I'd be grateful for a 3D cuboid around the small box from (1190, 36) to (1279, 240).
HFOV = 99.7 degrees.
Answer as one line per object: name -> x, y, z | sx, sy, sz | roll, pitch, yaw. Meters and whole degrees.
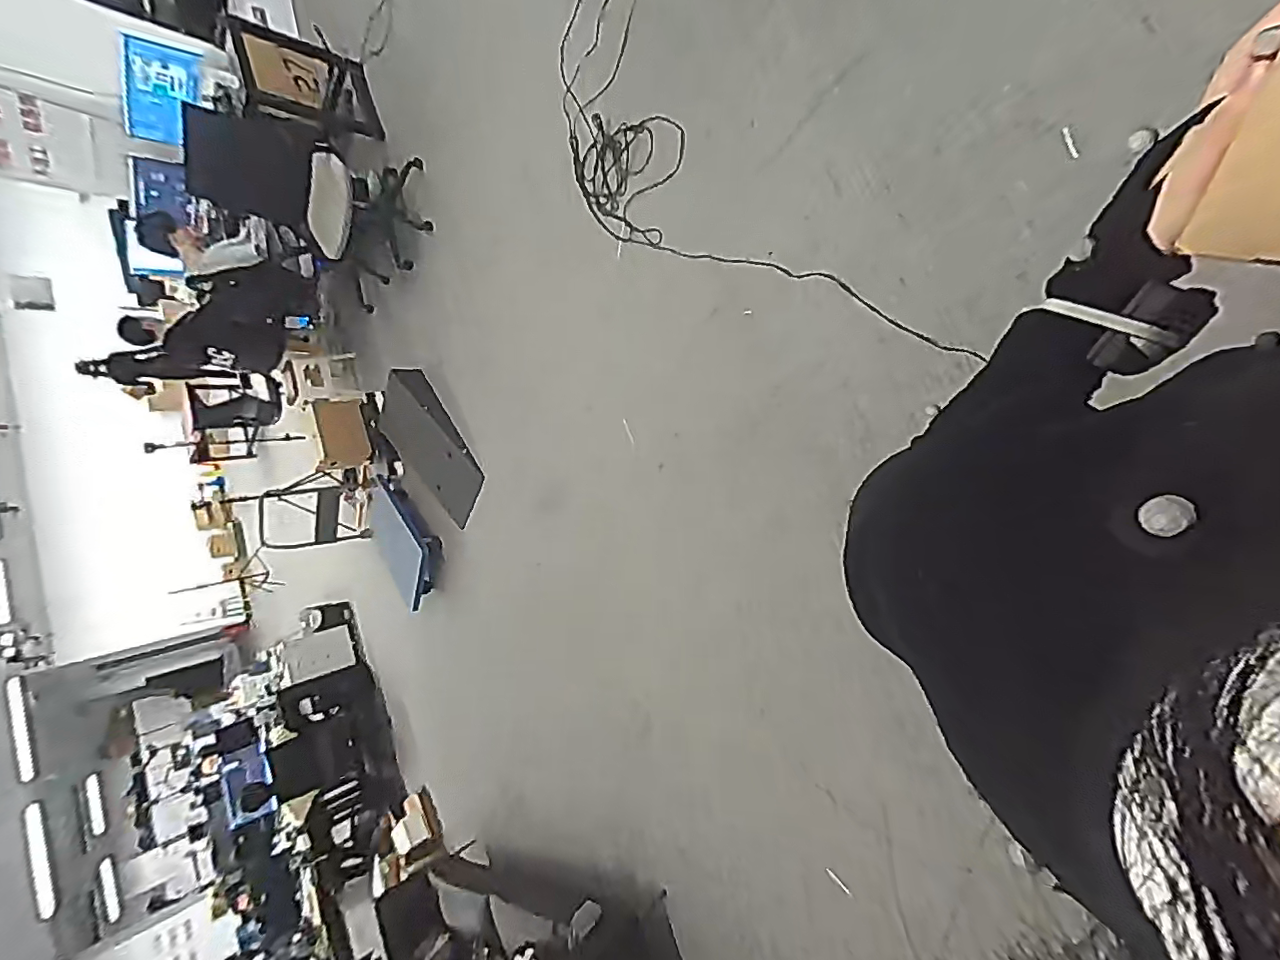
small box -> 0.396, -0.193, 0.231 | 0.168, 0.176, 0.179 | 33, 129, 40
